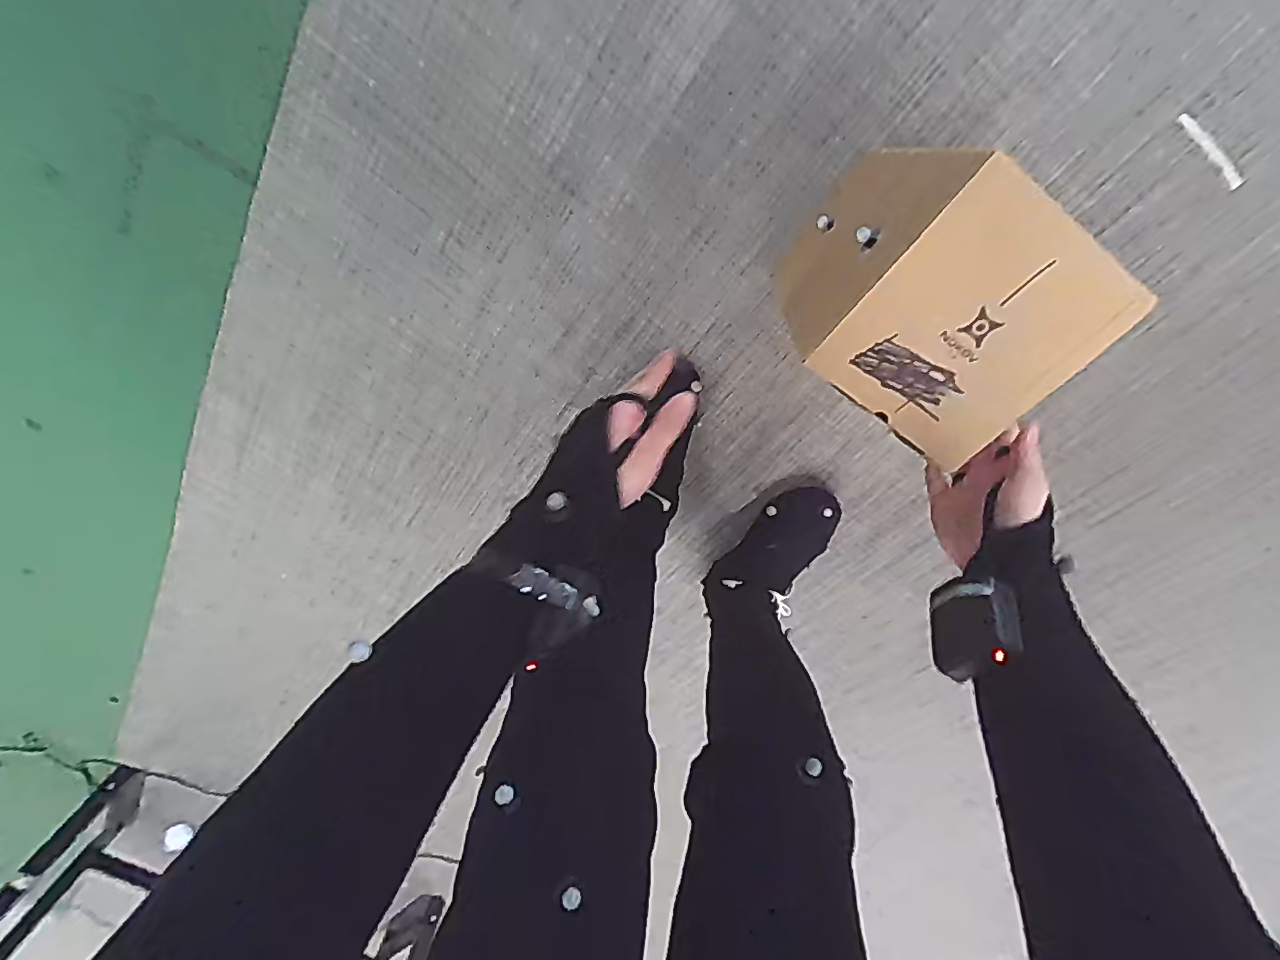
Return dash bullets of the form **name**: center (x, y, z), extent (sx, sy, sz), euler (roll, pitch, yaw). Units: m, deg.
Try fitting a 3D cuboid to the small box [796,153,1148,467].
- **small box**: center (0.256, -0.150, 0.472), extent (0.168, 0.176, 0.179), euler (33, 119, -12)
